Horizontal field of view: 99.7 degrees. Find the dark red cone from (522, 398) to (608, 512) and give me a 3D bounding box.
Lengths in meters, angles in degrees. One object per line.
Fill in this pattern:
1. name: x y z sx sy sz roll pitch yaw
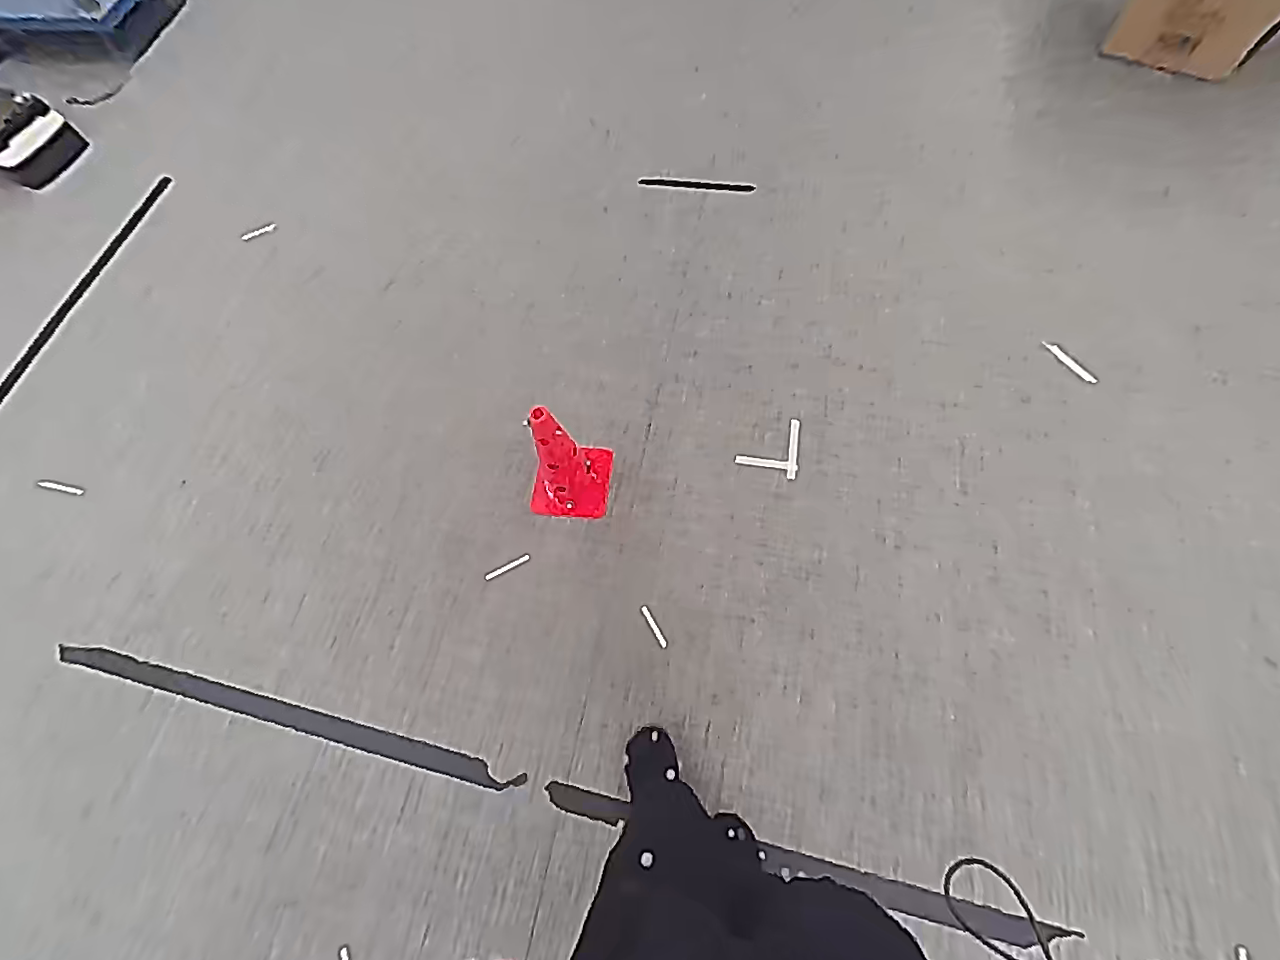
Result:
1. dark red cone: -0.200 -0.075 1.243 0.202 0.394 0.201 3 68 7
